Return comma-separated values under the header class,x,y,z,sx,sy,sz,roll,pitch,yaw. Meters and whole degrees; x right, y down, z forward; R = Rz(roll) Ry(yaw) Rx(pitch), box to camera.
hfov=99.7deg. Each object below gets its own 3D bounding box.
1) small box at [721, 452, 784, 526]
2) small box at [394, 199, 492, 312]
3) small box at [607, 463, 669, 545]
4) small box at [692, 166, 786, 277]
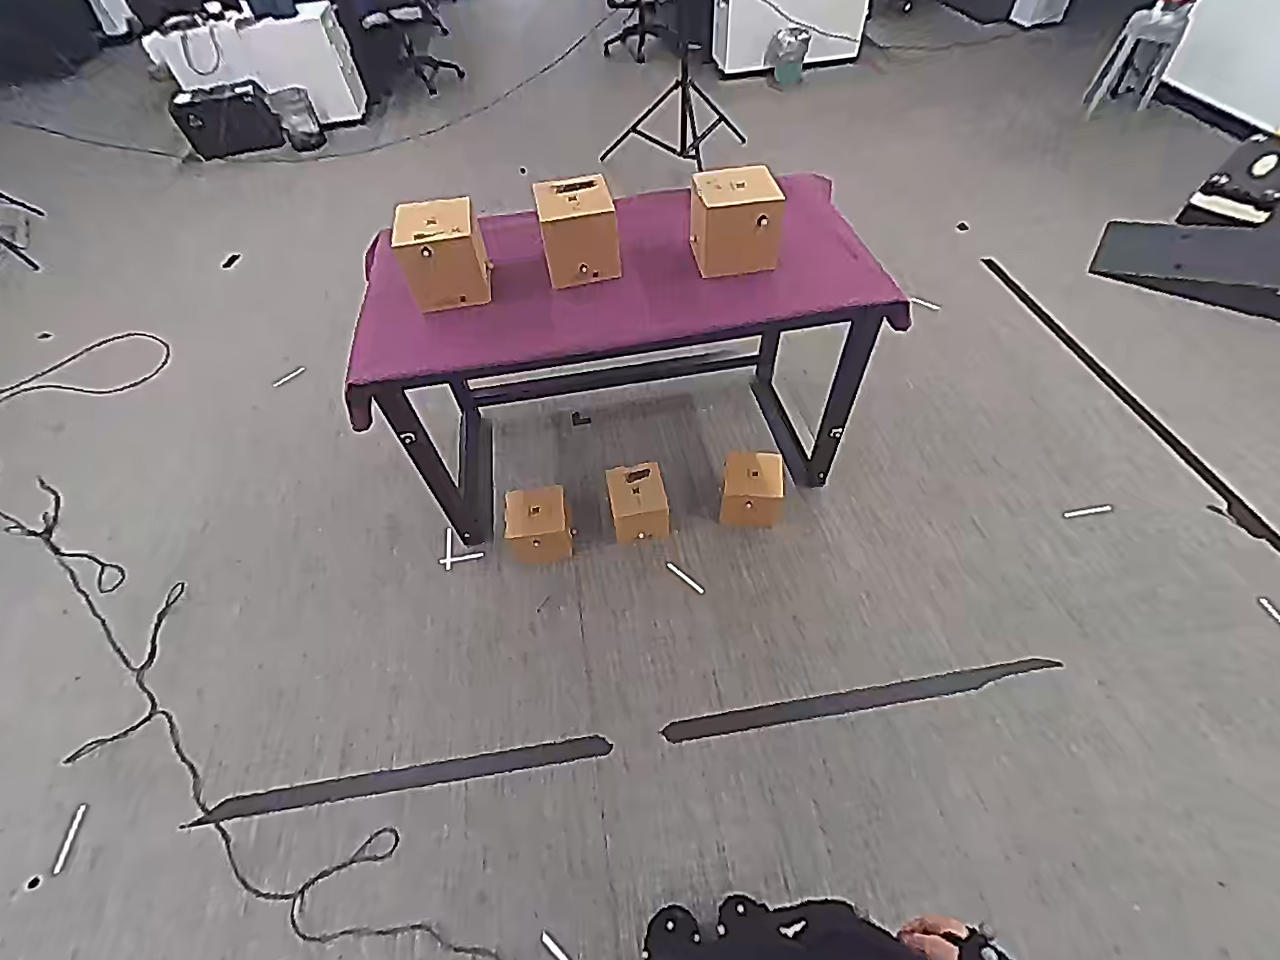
class,x,y,z,sx,sy,sz,roll,pitch,yaw
small box,0.349,0.031,1.691,0.179,0.176,0.168,3,54,8
small box,-0.442,-0.512,1.238,0.168,0.176,0.179,-11,53,-5
small box,-0.005,0.076,1.680,0.168,0.176,0.179,-10,54,-3
small box,0.220,-0.595,1.254,0.179,0.176,0.168,-8,52,-2
